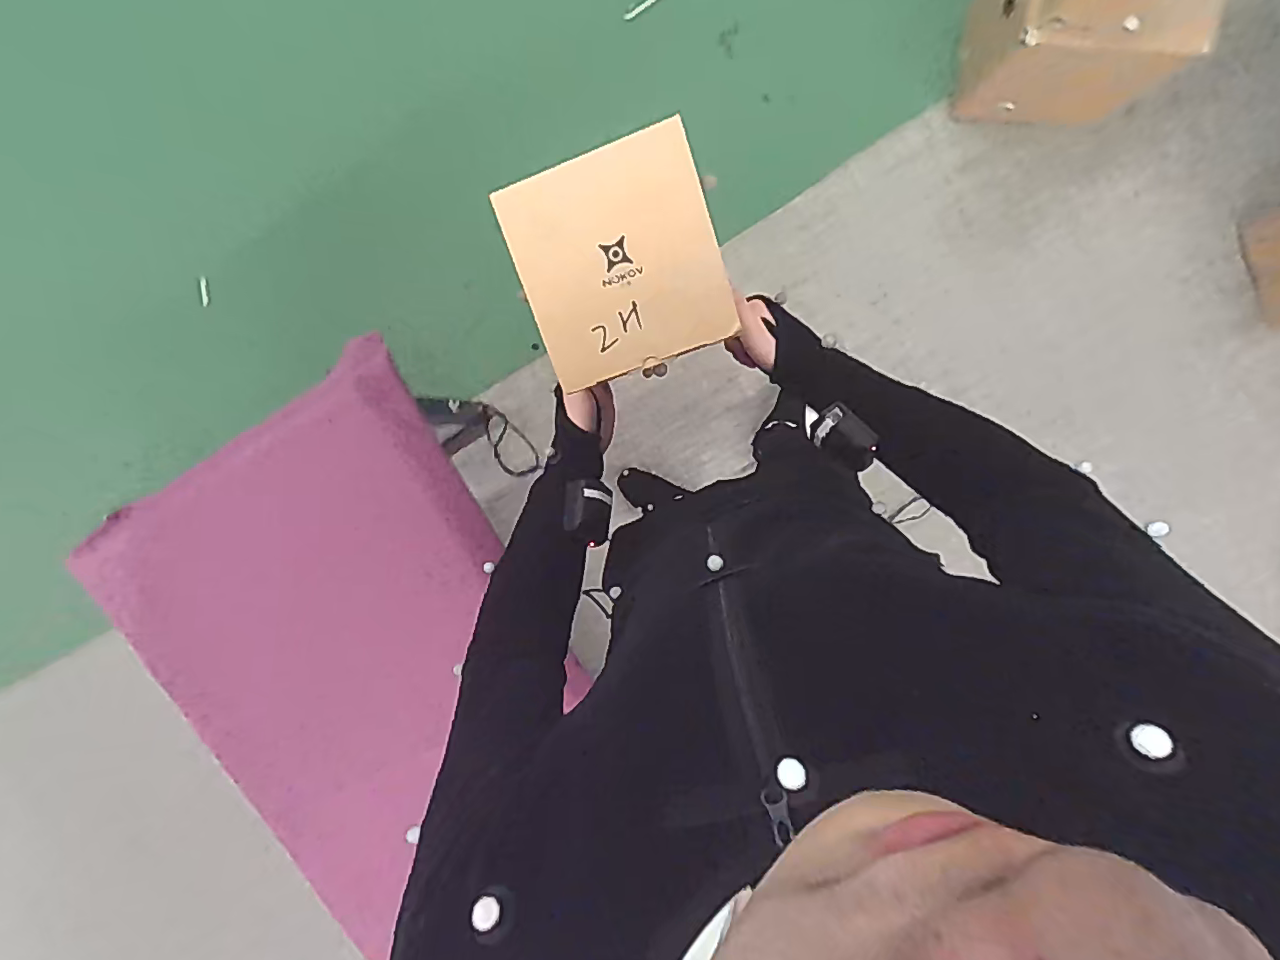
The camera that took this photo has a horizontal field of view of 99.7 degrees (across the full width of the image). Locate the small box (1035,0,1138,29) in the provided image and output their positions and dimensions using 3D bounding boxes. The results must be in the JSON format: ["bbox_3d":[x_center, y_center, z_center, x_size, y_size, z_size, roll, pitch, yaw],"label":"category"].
[{"bbox_3d":[0.935,-1.052,1.077,0.168,0.176,0.179,7,96,0],"label":"small box"}]
